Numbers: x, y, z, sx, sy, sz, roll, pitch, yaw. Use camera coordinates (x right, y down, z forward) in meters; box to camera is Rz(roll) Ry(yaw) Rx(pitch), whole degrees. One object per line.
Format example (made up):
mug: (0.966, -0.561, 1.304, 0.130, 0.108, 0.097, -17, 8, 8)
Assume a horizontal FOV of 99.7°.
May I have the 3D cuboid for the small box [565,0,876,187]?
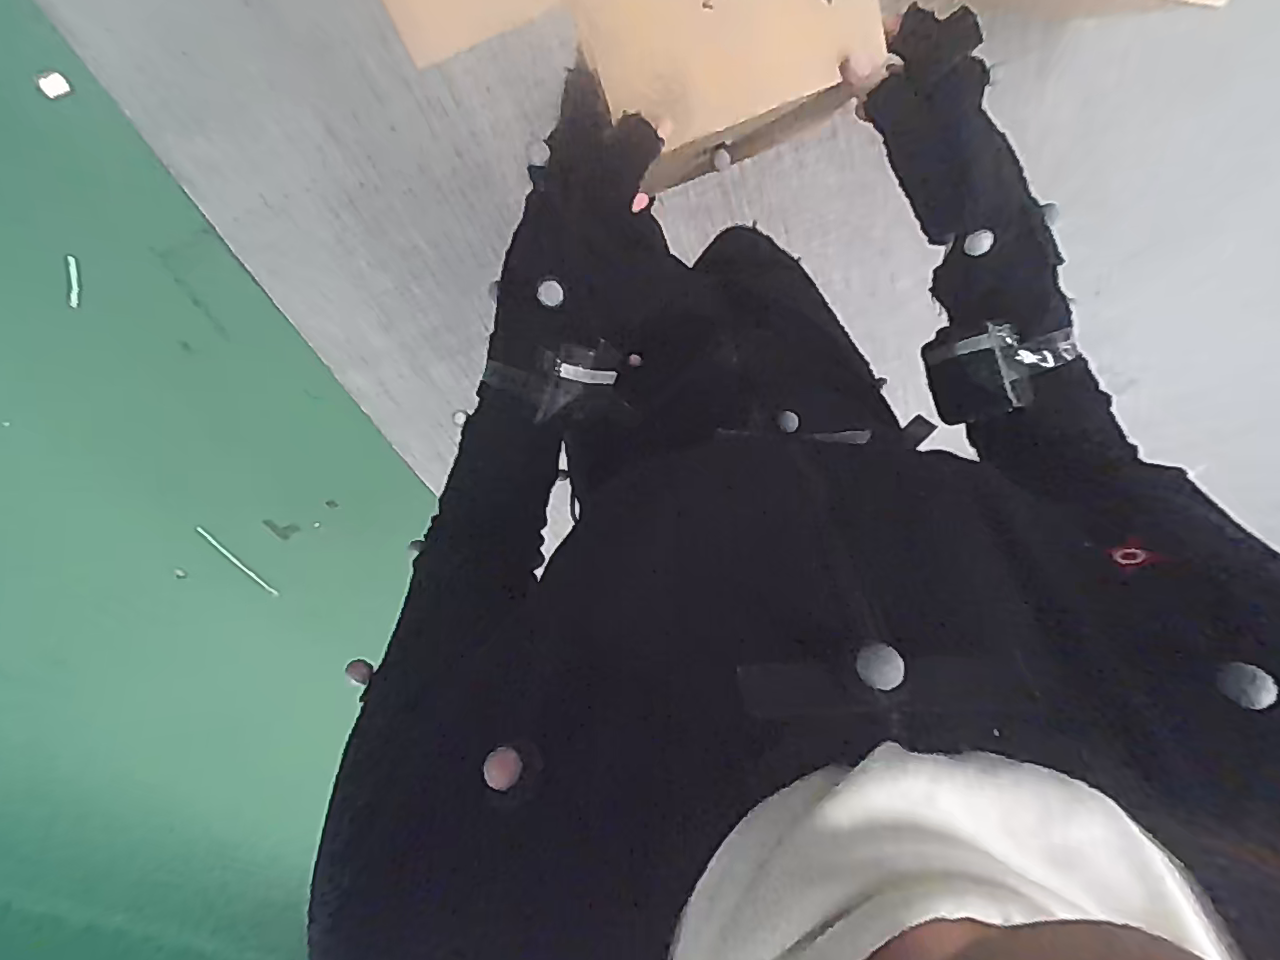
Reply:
small box: (0.043, -0.345, 0.401, 0.179, 0.176, 0.168, -20, 107, 9)
